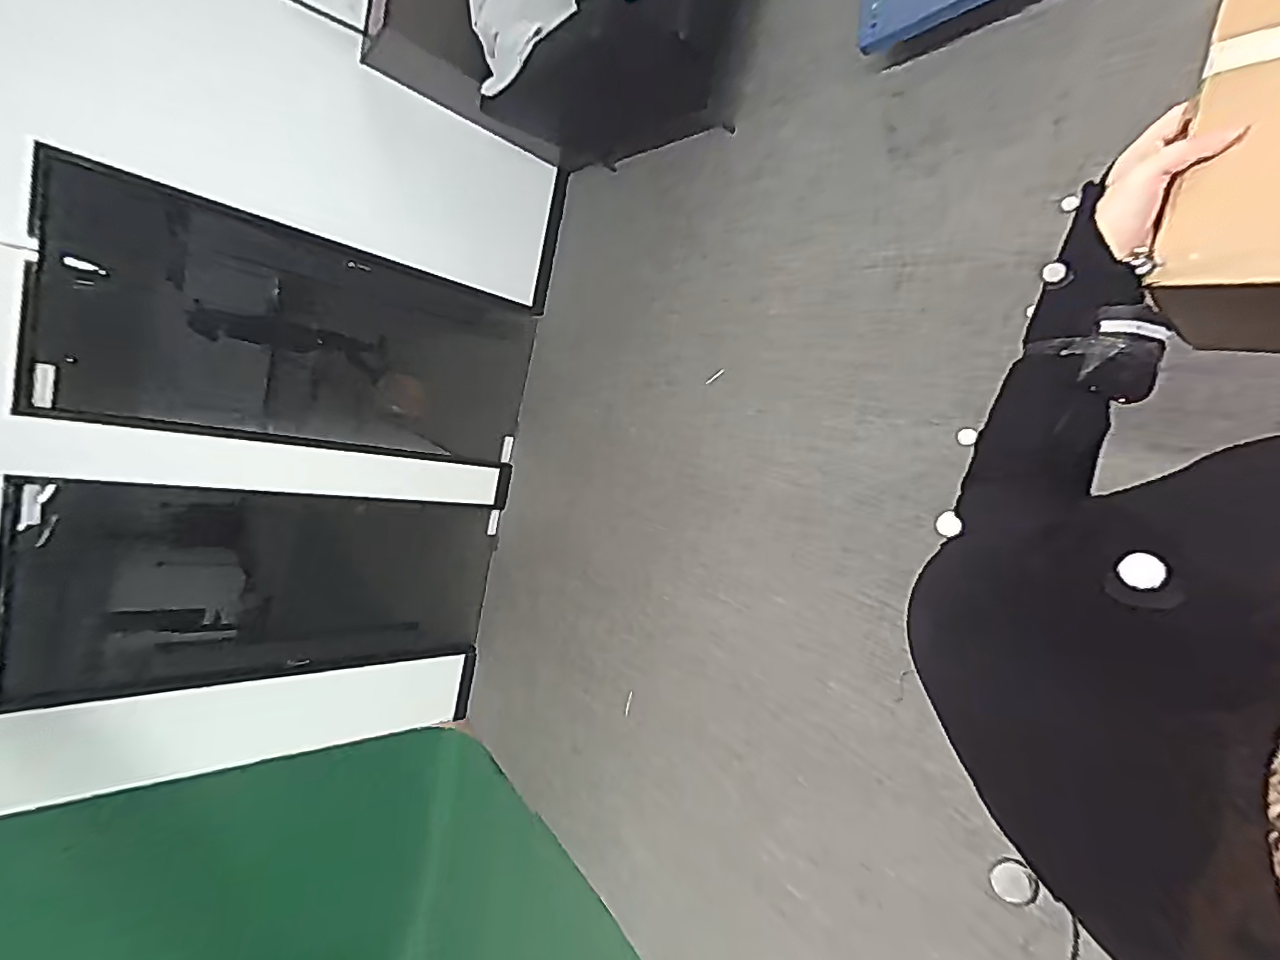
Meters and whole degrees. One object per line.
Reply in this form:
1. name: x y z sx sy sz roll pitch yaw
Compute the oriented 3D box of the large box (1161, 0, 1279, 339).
1. large box: 0.668 -0.265 0.341 0.408 0.320 0.320 20 105 51
